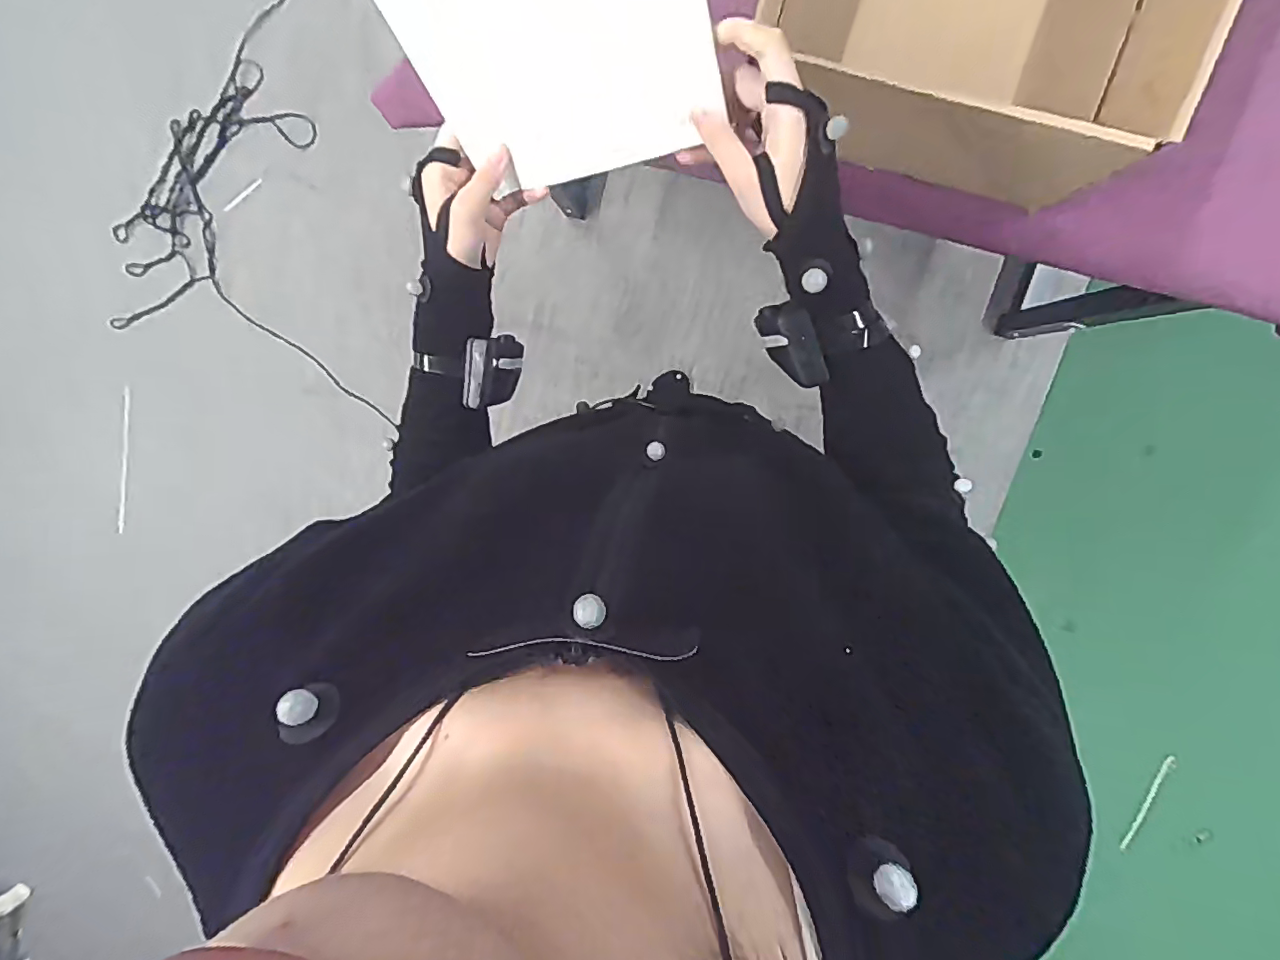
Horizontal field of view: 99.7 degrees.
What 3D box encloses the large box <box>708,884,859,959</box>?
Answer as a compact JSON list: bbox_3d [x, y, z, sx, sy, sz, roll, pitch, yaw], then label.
[{"bbox_3d":[0.405,1.445,1.566,0.408,0.320,0.320,1,101,4],"label":"large box"}]
